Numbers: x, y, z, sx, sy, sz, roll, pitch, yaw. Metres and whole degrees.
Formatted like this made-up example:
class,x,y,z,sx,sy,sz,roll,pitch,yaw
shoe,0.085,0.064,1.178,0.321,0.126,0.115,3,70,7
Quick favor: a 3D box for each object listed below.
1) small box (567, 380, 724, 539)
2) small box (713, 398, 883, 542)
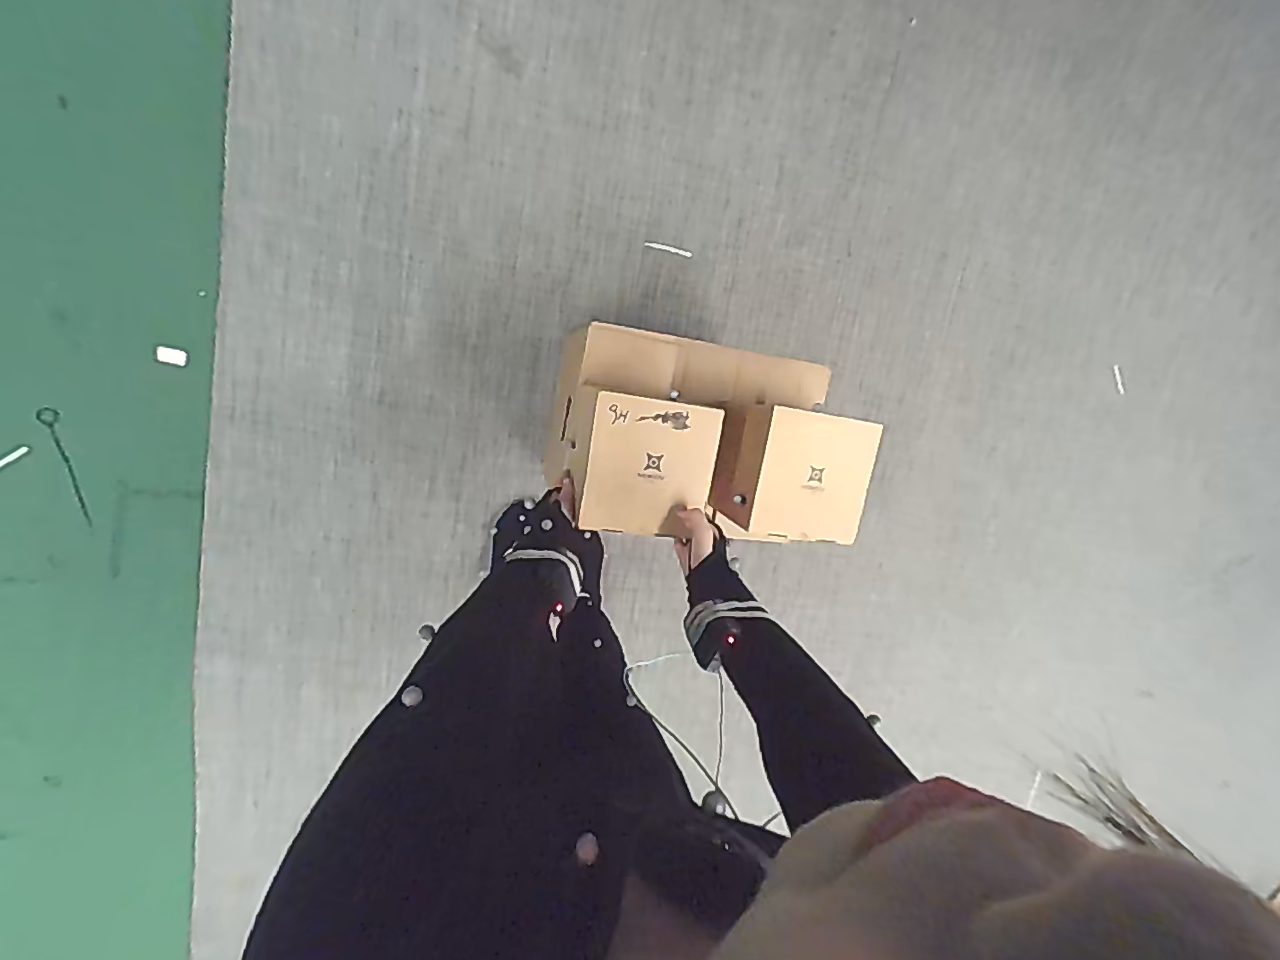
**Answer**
class,x,y,z,sx,sy,sz,roll,pitch,yaw
small box,-0.004,-0.035,0.749,0.168,0.176,0.179,6,103,-15
small box,0.221,-0.022,0.803,0.168,0.176,0.179,7,101,-13
